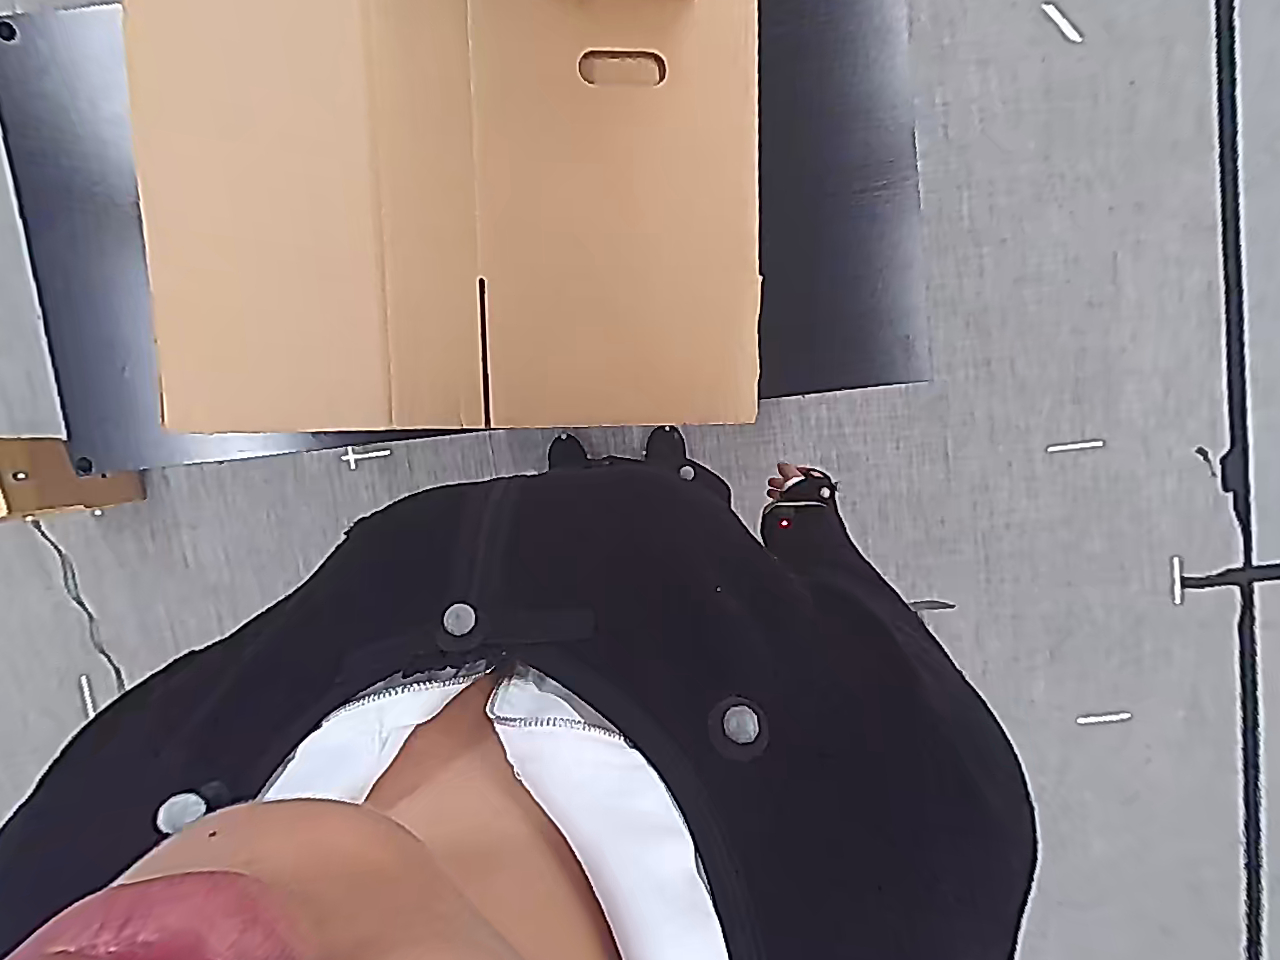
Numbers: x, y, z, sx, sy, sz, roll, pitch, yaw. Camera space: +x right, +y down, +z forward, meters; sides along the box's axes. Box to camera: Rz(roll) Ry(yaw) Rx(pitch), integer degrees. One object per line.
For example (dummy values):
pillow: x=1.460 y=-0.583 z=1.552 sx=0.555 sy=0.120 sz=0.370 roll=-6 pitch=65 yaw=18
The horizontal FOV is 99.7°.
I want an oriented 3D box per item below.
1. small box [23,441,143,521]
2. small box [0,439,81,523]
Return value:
small box: x=-1.463 y=-0.003 z=1.409 sx=0.168 sy=0.176 sz=0.179 roll=-11 pitch=96 yaw=1
small box: x=-1.463 y=0.006 z=1.246 sx=0.168 sy=0.176 sz=0.179 roll=-13 pitch=94 yaw=0
